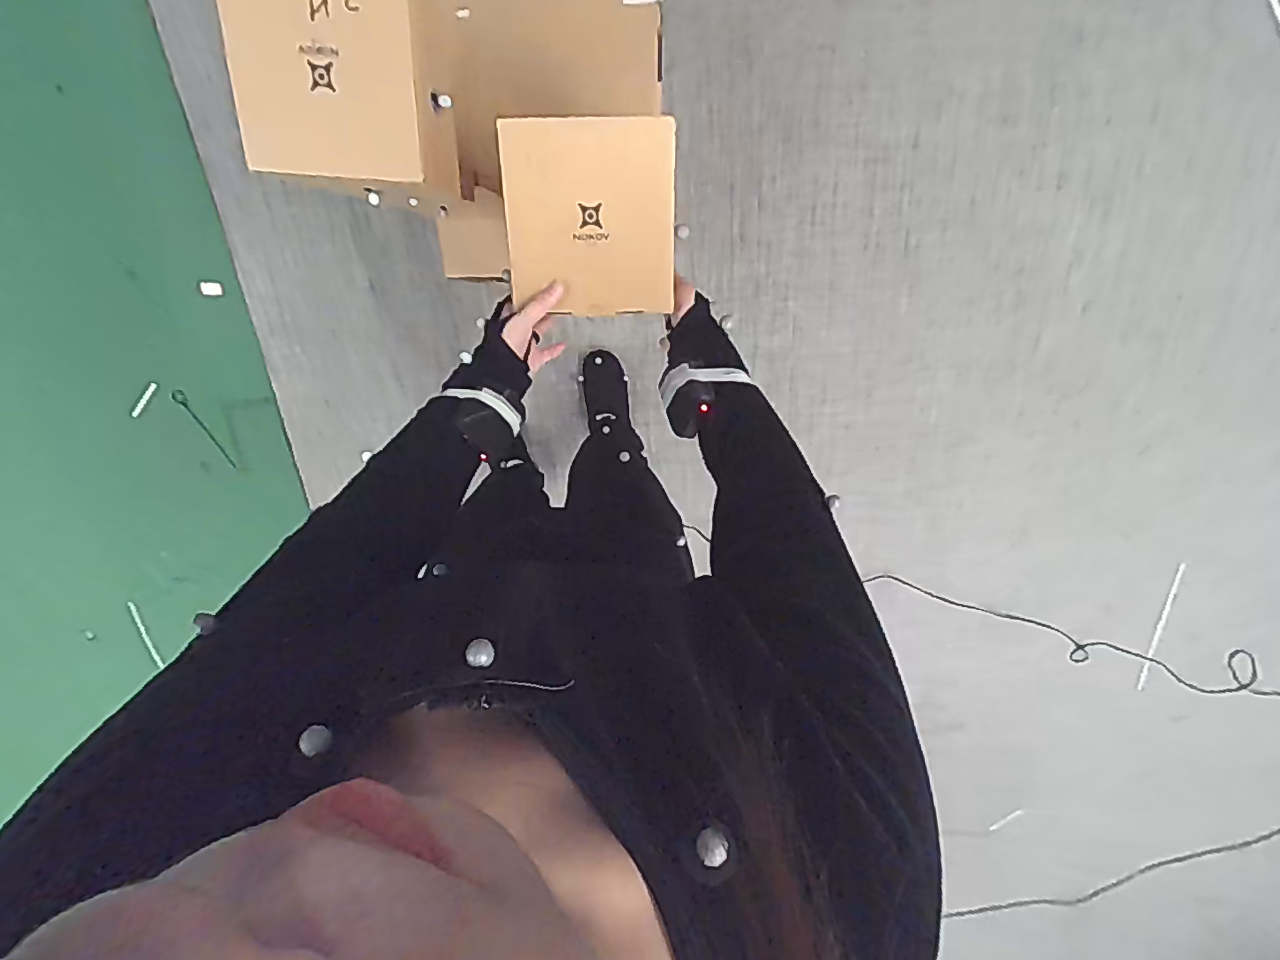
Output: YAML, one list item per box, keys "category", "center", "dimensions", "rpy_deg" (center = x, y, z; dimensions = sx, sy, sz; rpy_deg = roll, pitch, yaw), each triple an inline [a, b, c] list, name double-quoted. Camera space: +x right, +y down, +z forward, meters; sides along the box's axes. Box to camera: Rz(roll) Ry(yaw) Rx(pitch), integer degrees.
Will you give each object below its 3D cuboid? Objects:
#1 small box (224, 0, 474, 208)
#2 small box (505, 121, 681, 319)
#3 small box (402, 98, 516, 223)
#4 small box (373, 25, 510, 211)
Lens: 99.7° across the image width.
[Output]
- category: "small box"
  center: [-0.275, -0.386, 0.553]
  dimensions: [0.168, 0.176, 0.179]
  rpy_deg: [4, 111, -2]
- category: "small box"
  center: [-0.046, -0.276, 0.600]
  dimensions: [0.168, 0.176, 0.179]
  rpy_deg: [-1, 112, -1]
- category: "small box"
  center: [-0.286, -0.514, 0.857]
  dimensions: [0.168, 0.176, 0.179]
  rpy_deg: [-1, 110, 0]
- category: "small box"
  center: [-0.277, -0.451, 0.702]
  dimensions: [0.179, 0.176, 0.168]
  rpy_deg: [-1, 111, 3]
